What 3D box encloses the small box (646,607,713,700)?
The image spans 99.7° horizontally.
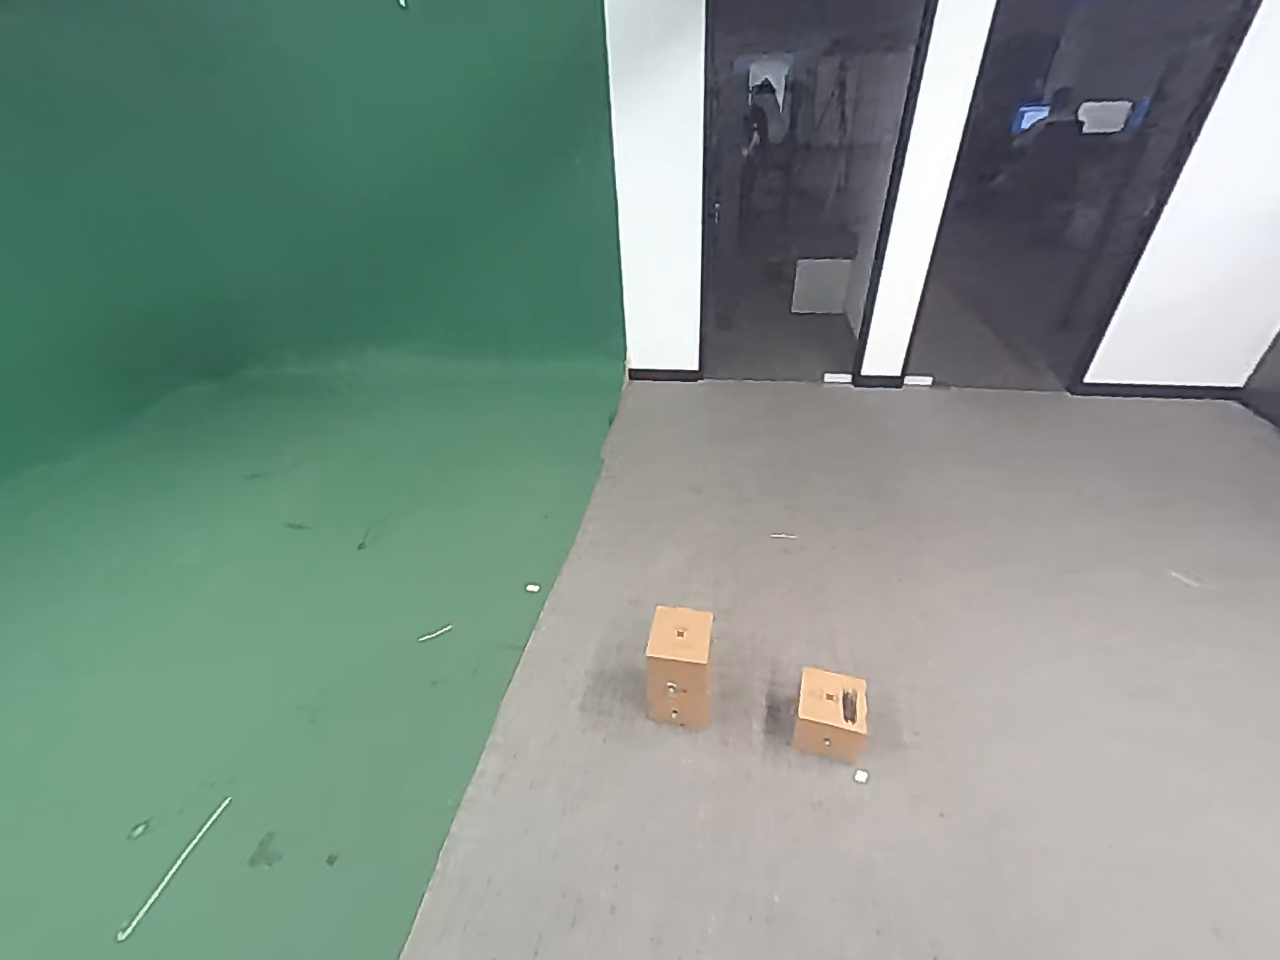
[{"bbox_3d":[0.116,0.489,1.529,0.168,0.176,0.179,4,38,11],"label":"small box"}]

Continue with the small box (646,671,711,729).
[{"bbox_3d":[0.121,0.619,1.627,0.168,0.176,0.179,7,38,13],"label":"small box"}]
